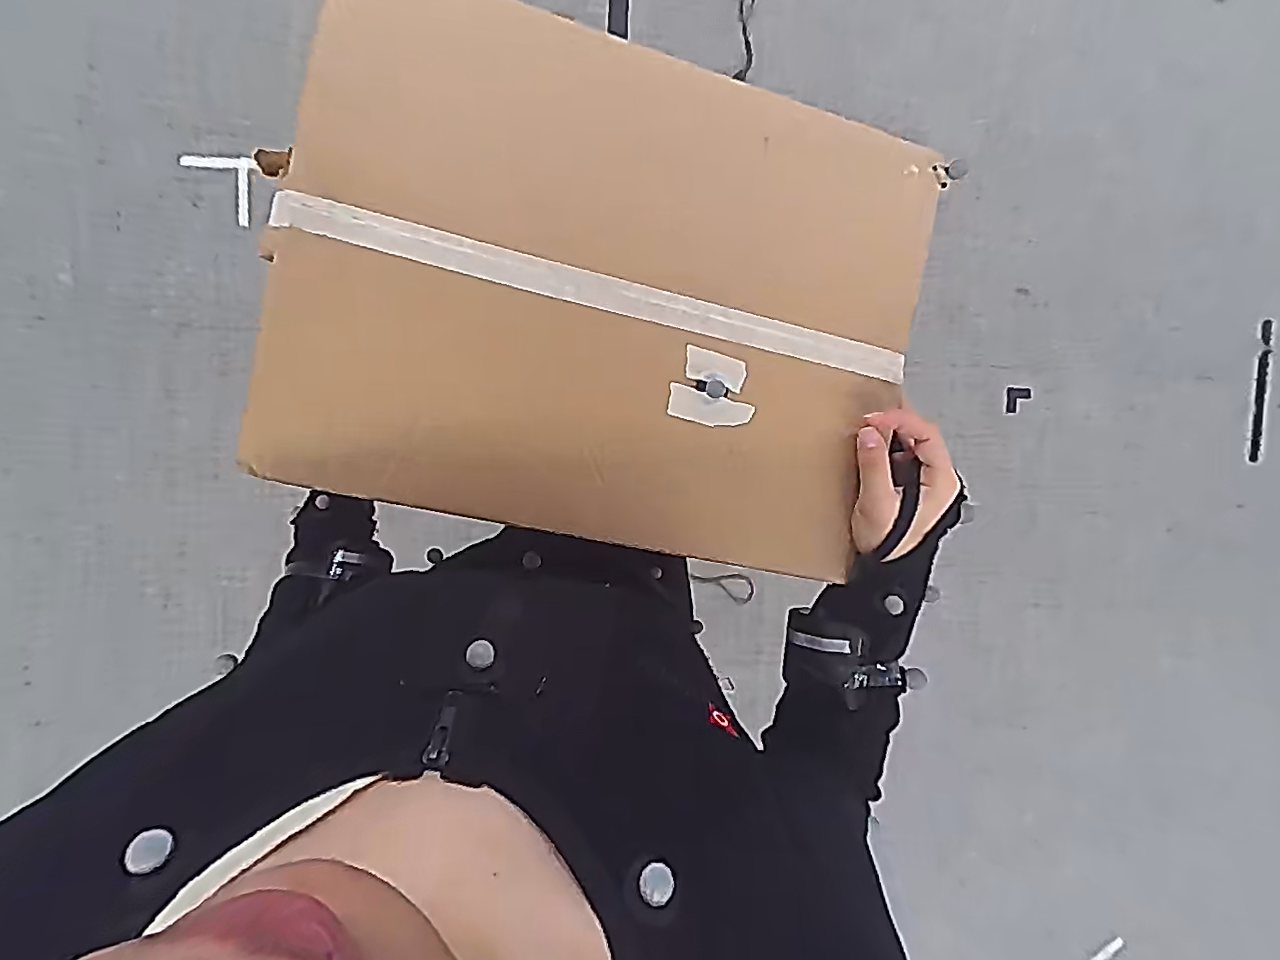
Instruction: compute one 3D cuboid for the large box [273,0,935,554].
[{"bbox_3d":[-0.032,-0.137,0.503,0.408,0.320,0.320,12,92,-12],"label":"large box"}]
